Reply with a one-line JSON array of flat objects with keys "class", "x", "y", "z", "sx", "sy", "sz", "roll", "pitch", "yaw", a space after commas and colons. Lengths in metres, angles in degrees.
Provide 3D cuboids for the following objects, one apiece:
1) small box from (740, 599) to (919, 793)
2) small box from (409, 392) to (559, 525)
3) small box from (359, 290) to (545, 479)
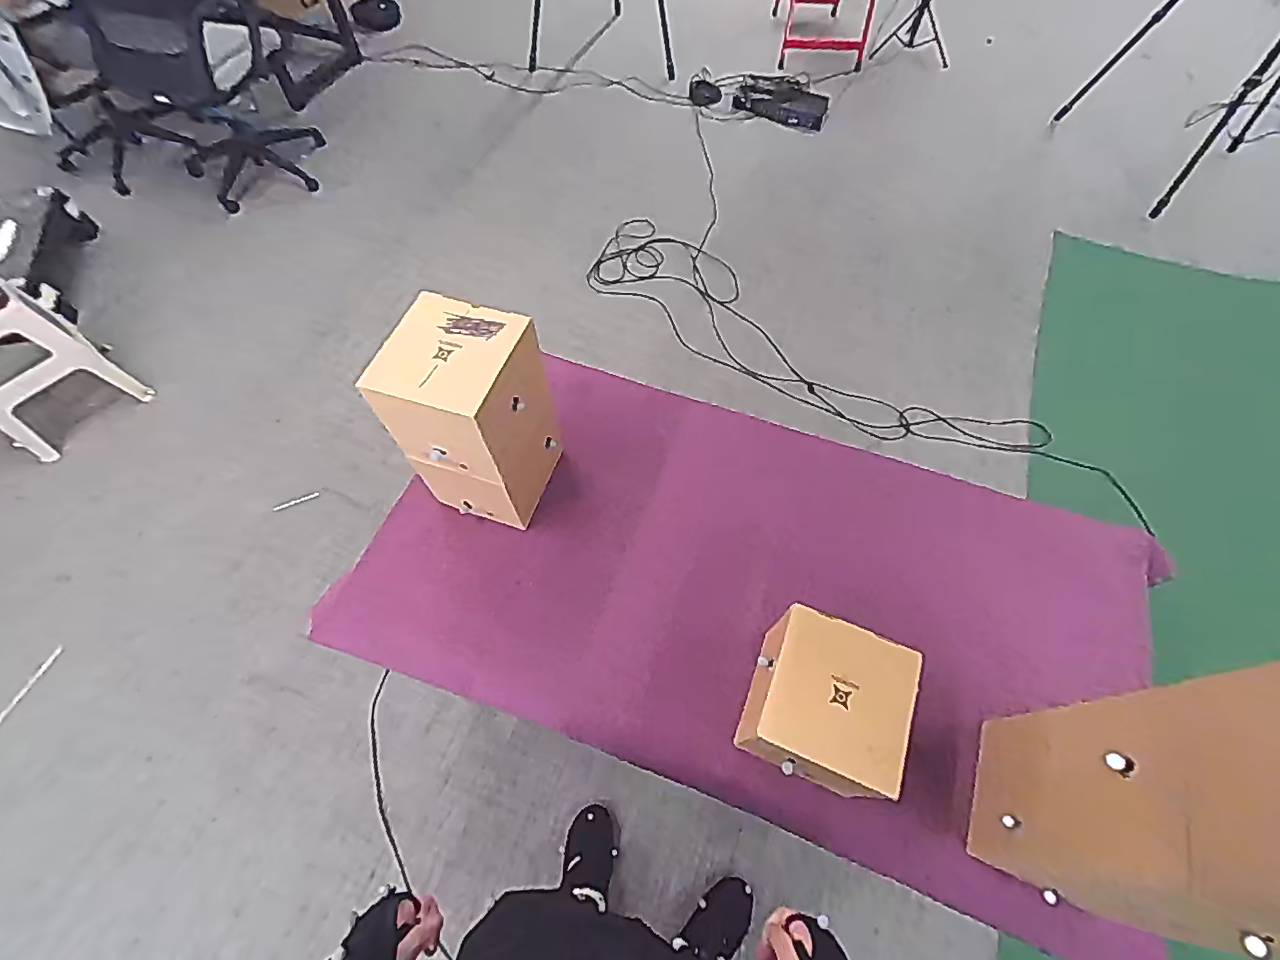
[{"class": "small box", "x": 0.240, "y": 0.290, "z": 0.720, "sx": 0.168, "sy": 0.176, "sz": 0.179, "roll": 21, "pitch": 62, "yaw": 11}, {"class": "small box", "x": -0.246, "y": -0.051, "z": 0.906, "sx": 0.168, "sy": 0.176, "sz": 0.179, "roll": 16, "pitch": 64, "yaw": 9}, {"class": "small box", "x": -0.245, "y": -0.130, "z": 0.763, "sx": 0.168, "sy": 0.176, "sz": 0.179, "roll": 16, "pitch": 63, "yaw": 9}]
